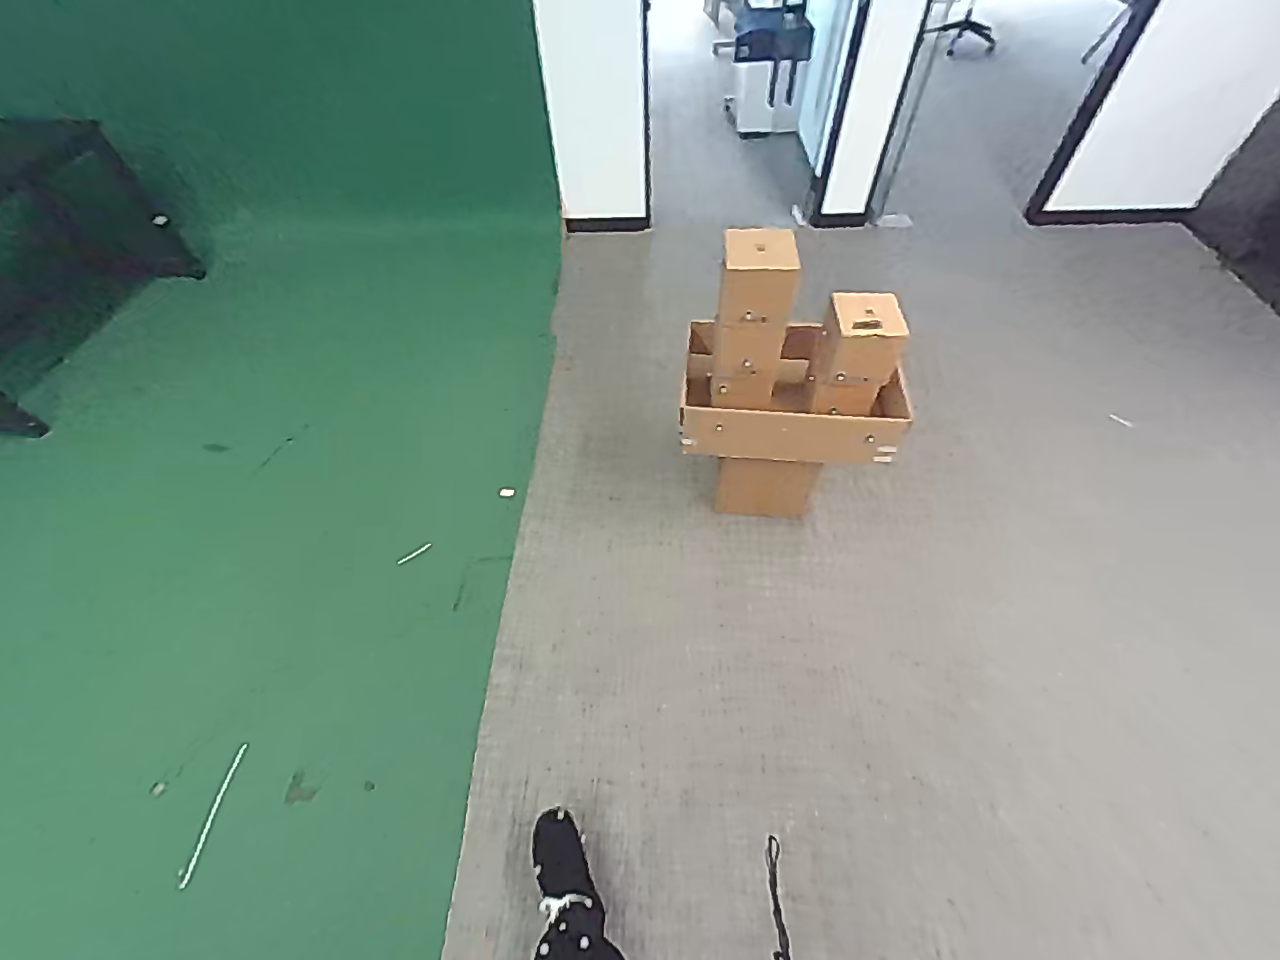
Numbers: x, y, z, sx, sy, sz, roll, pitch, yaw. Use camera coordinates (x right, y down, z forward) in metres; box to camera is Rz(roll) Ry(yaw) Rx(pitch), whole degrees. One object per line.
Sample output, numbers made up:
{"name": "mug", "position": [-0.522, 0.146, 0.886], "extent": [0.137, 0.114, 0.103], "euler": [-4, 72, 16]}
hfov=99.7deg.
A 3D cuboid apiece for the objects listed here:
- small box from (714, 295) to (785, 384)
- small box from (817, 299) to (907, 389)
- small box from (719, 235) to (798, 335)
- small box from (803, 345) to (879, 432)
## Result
{"name": "small box", "position": [0.289, -0.385, 1.470], "extent": [0.168, 0.176, 0.179], "euler": [2, 53, 4]}
{"name": "small box", "position": [0.583, -0.360, 1.444], "extent": [0.168, 0.176, 0.179], "euler": [2, 53, 3]}
{"name": "small box", "position": [0.286, -0.482, 1.339], "extent": [0.168, 0.176, 0.179], "euler": [2, 52, 4]}
{"name": "small box", "position": [0.579, -0.267, 1.580], "extent": [0.168, 0.176, 0.179], "euler": [6, 54, 5]}
